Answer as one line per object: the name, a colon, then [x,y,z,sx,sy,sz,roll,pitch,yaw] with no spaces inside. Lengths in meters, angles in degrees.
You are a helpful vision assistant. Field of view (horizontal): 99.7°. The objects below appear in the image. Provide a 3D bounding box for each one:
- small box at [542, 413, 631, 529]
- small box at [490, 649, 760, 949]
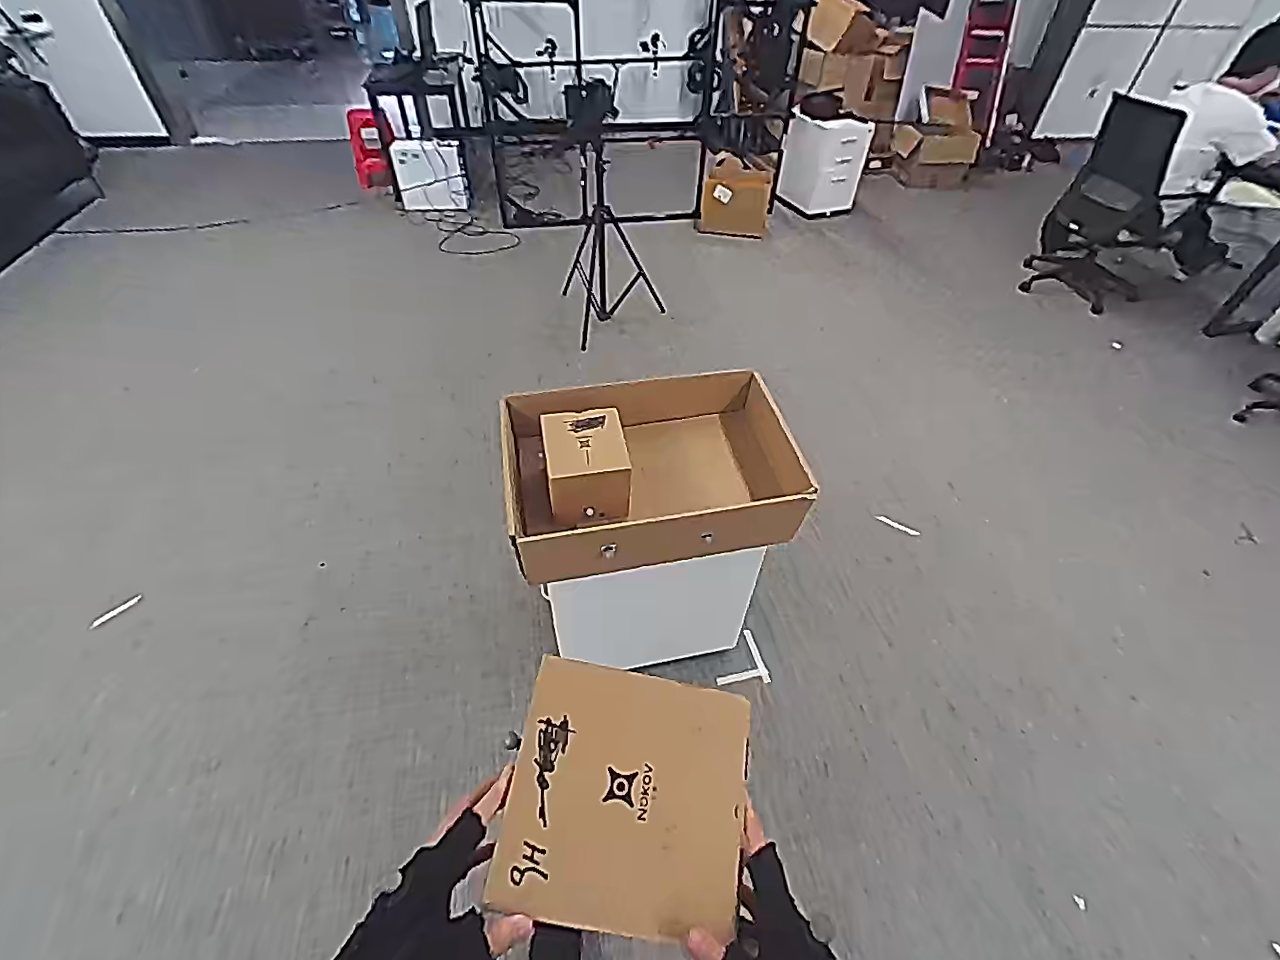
small box: [-0.118,-0.019,1.168,0.168,0.176,0.179,-8,52,-10]
small box: [-0.015,0.263,0.463,0.179,0.176,0.168,15,57,-4]
